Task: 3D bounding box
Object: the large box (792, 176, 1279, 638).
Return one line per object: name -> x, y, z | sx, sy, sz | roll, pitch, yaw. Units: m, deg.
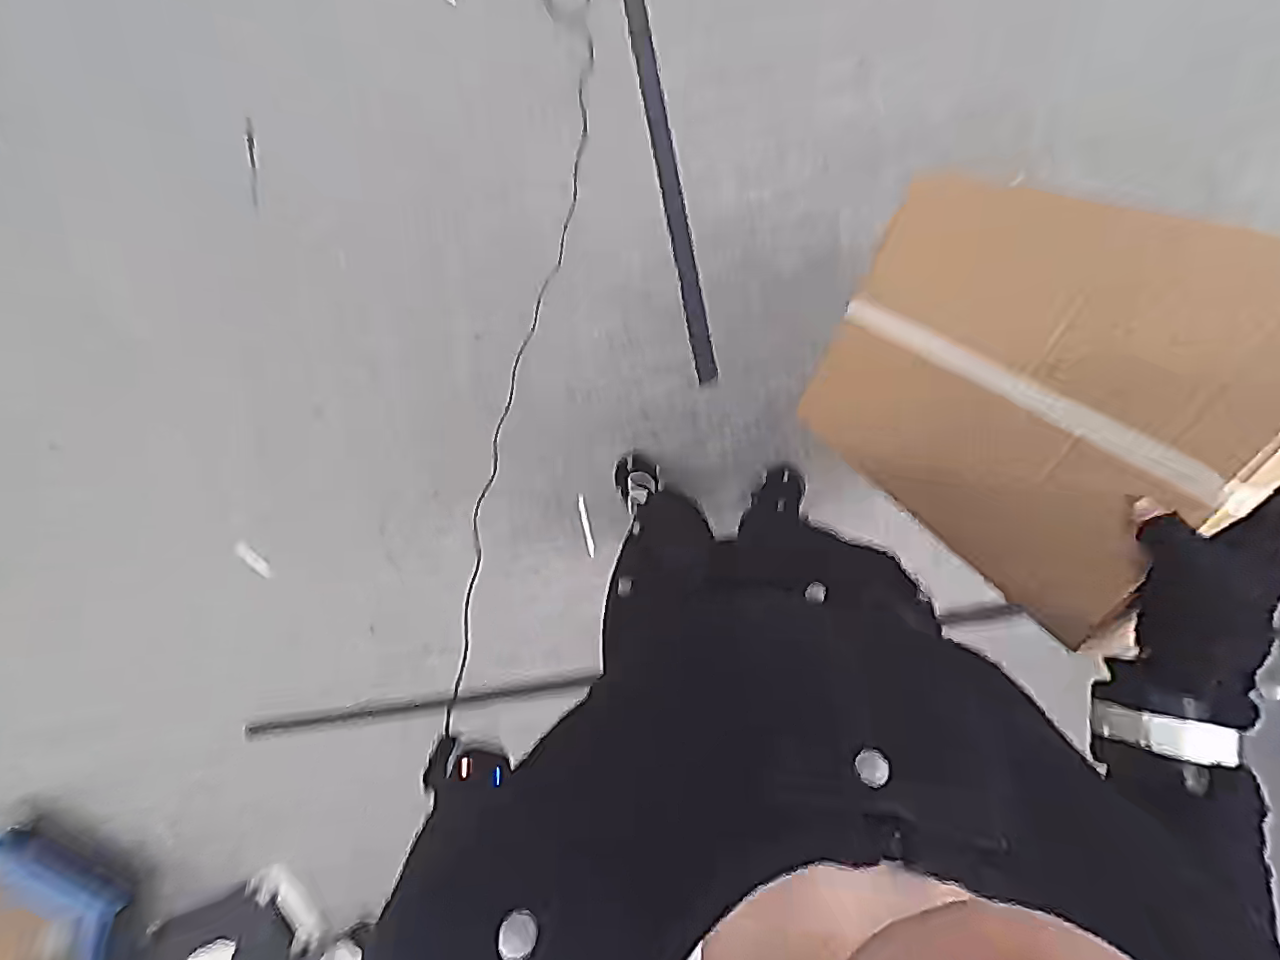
large box -> 0.455, -0.093, 0.591 | 0.320, 0.408, 0.320 | 3, 124, -28
